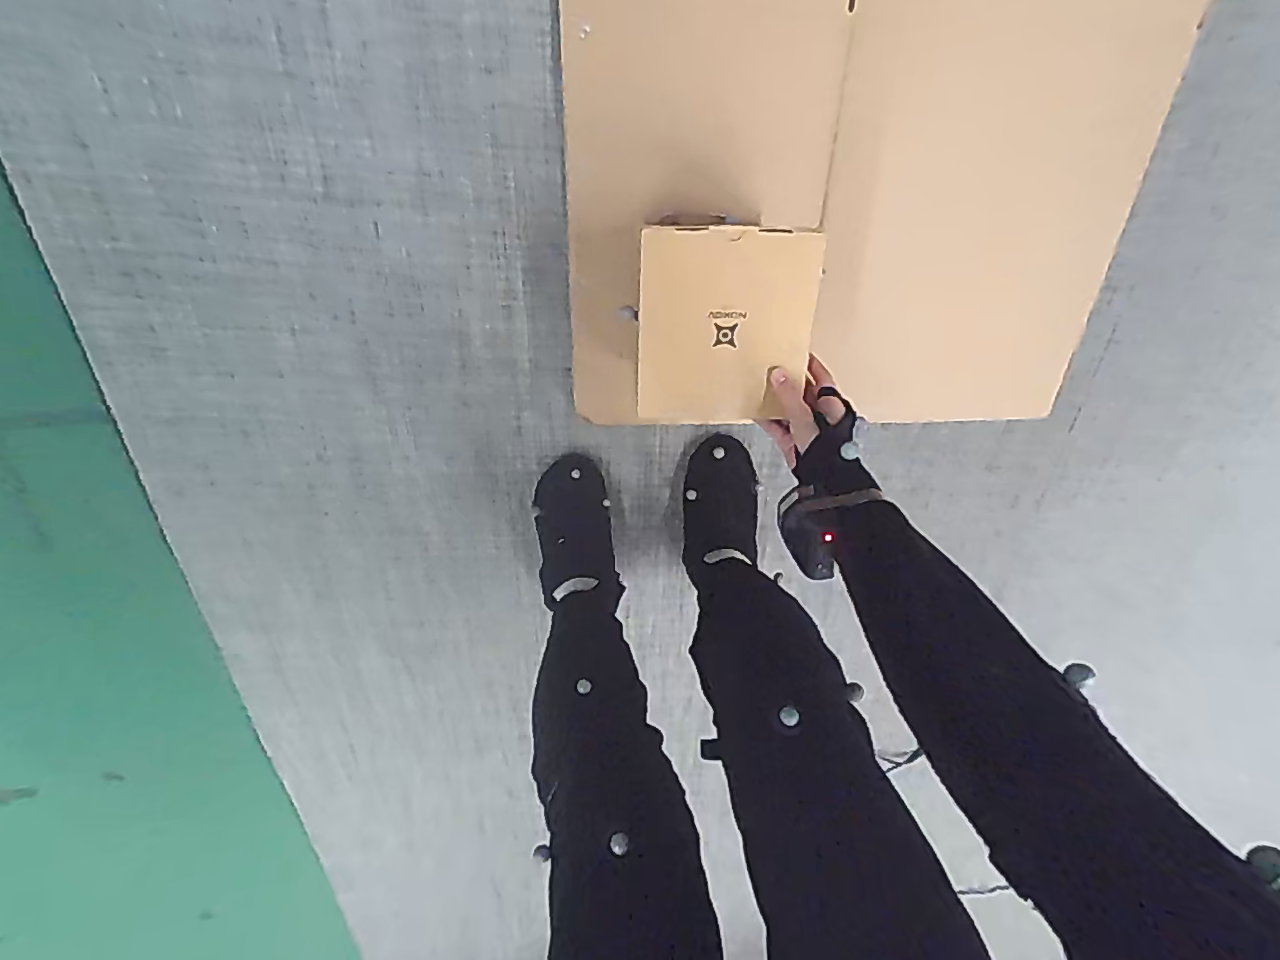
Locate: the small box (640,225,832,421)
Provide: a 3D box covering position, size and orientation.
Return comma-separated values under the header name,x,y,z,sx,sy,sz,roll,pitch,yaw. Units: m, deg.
name,x,y,z,sx,sy,sz,roll,pitch,yaw
small box,0.085,-0.172,0.575,0.168,0.176,0.179,1,114,0
